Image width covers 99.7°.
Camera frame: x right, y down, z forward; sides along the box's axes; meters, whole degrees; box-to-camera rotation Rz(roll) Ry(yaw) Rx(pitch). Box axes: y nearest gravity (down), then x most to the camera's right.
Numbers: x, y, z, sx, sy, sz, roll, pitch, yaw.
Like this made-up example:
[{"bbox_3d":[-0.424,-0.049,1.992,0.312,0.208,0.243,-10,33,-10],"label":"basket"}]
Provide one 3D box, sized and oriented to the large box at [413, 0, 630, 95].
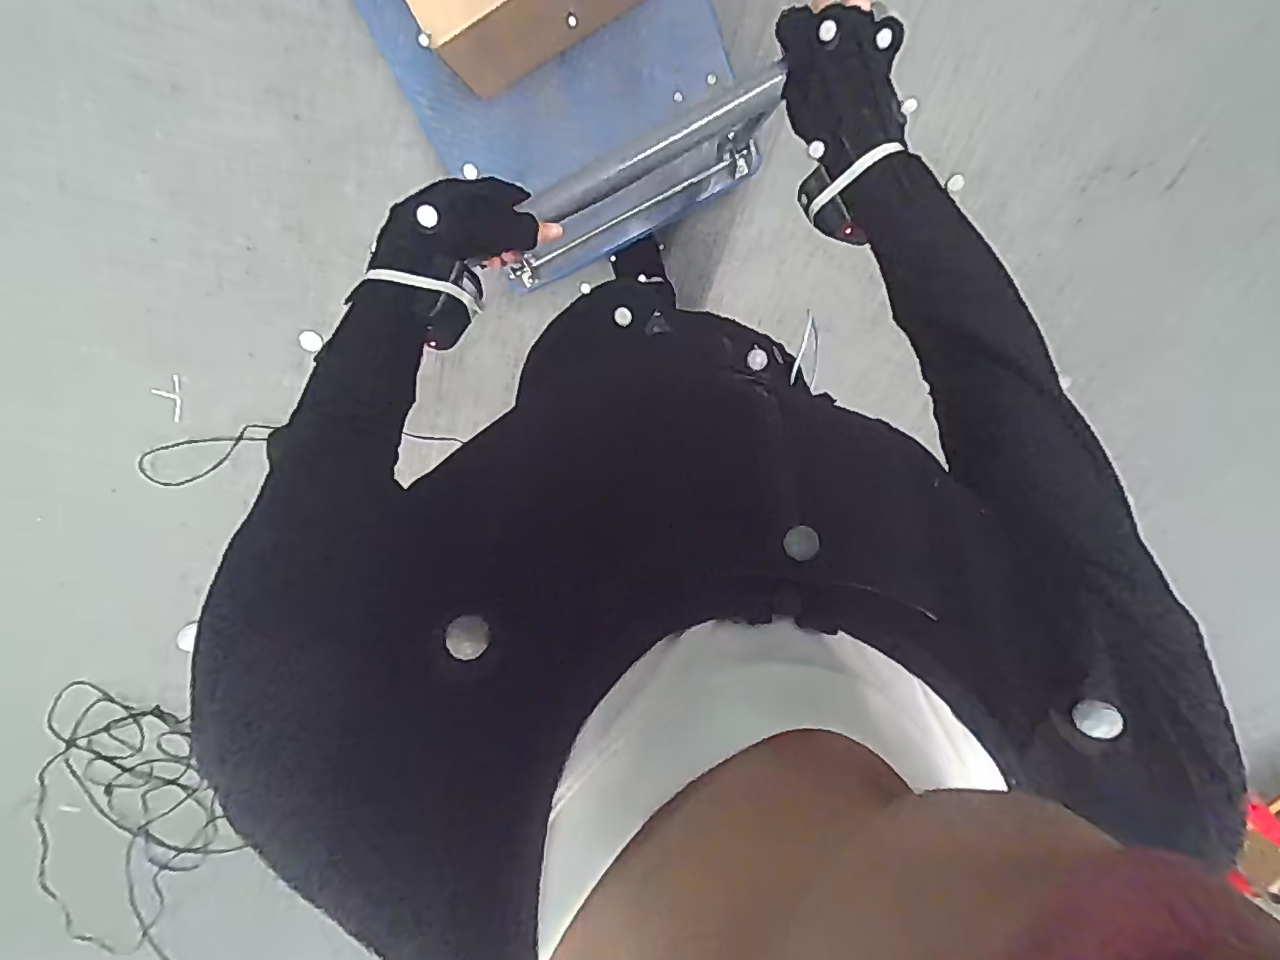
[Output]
[{"bbox_3d":[-0.181,-0.871,0.801,0.408,0.320,0.320,-27,112,9],"label":"large box"}]
